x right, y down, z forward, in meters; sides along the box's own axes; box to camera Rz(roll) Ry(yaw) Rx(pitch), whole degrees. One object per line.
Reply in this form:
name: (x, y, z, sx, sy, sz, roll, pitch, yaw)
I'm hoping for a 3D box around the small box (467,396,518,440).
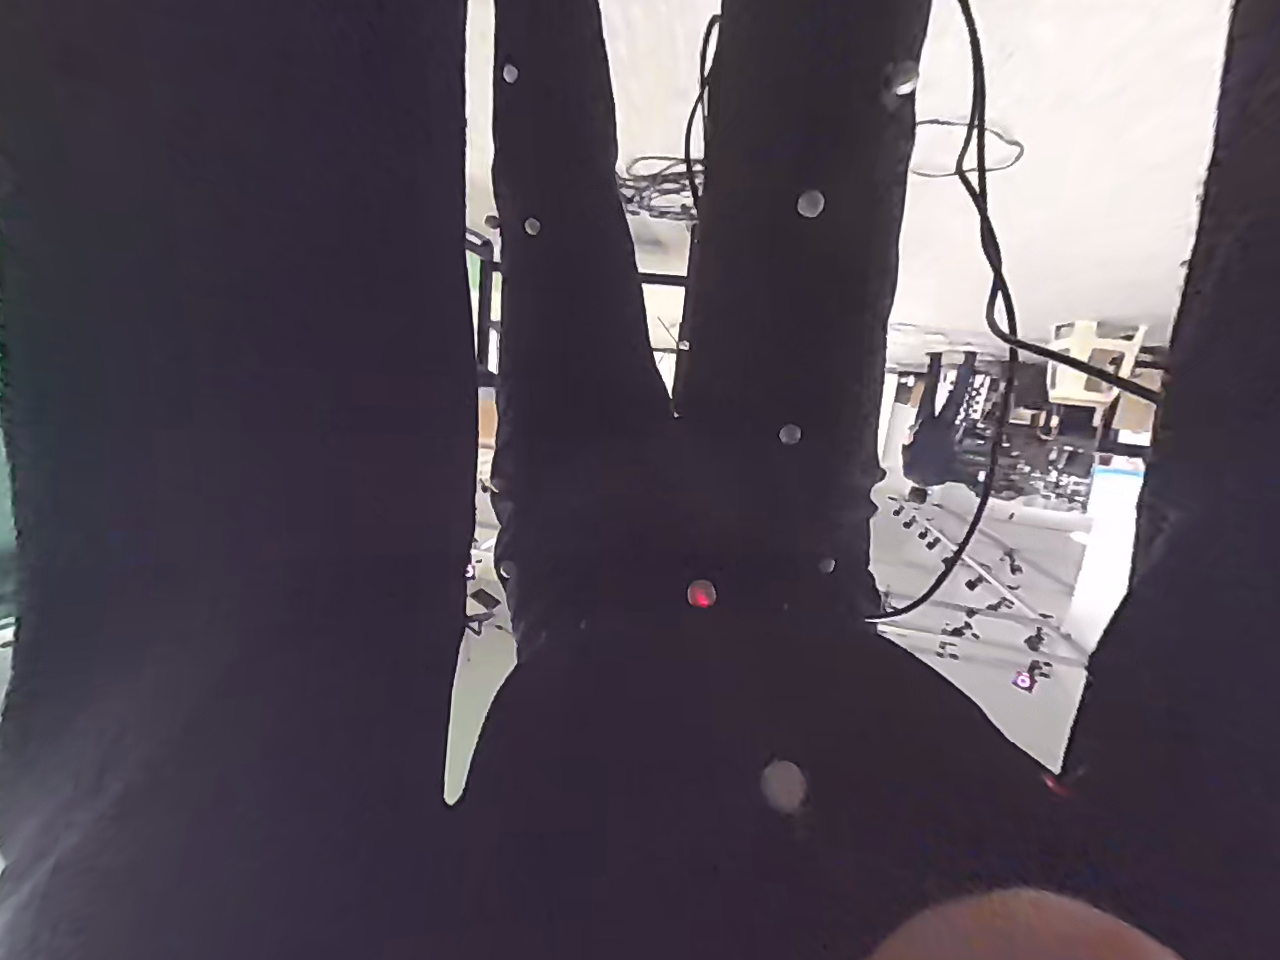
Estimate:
small box: (-0.658, -0.280, 2.413, 0.179, 0.176, 0.168, 8, -168, 9)
